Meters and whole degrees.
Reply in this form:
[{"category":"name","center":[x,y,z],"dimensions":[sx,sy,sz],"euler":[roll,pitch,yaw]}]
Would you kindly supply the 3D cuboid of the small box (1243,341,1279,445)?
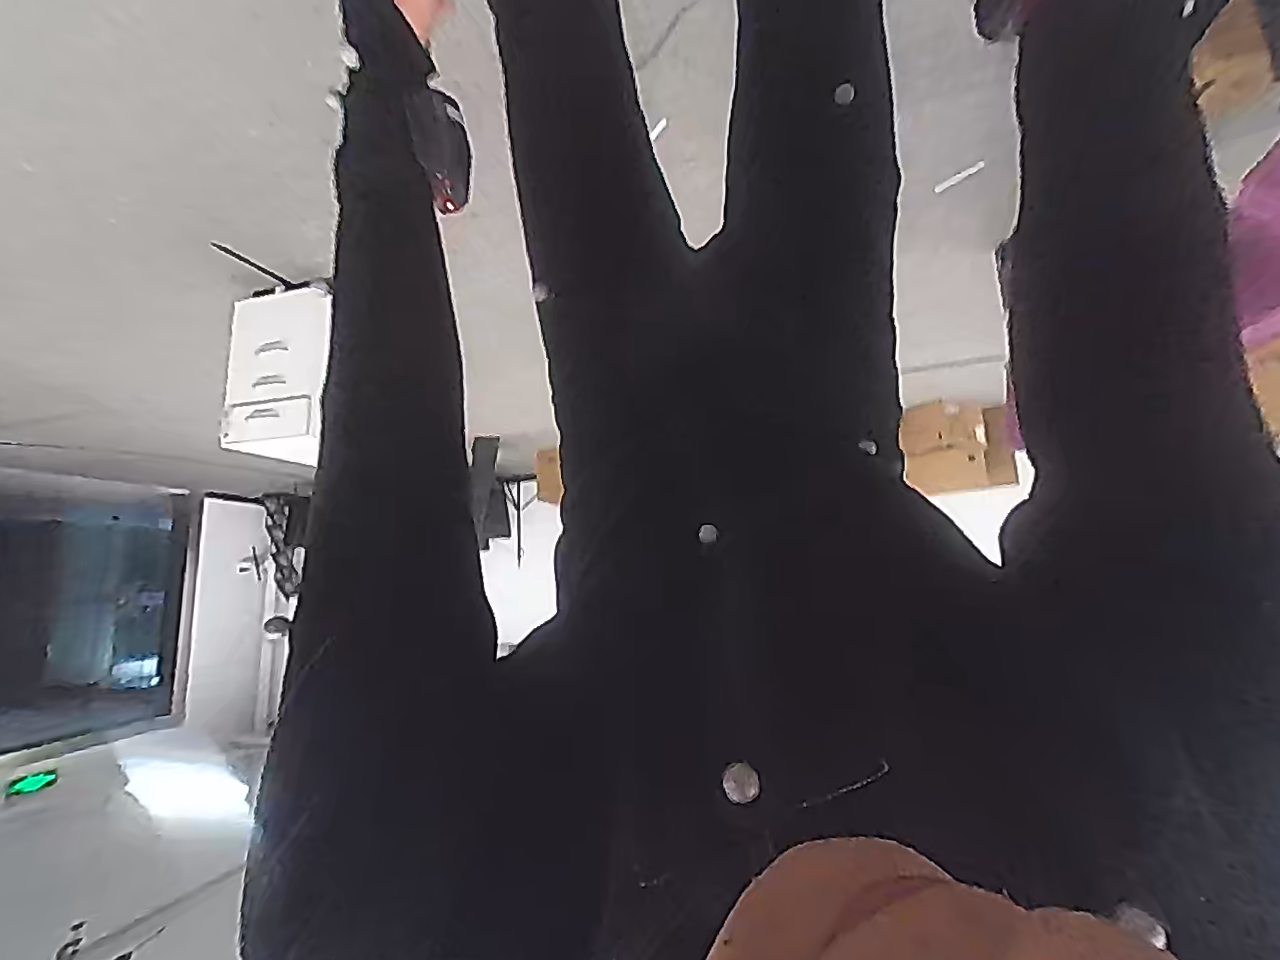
[{"category":"small box","center":[1.176,-0.163,0.892],"dimensions":[0.179,0.176,0.168],"euler":[-5,171,16]}]
